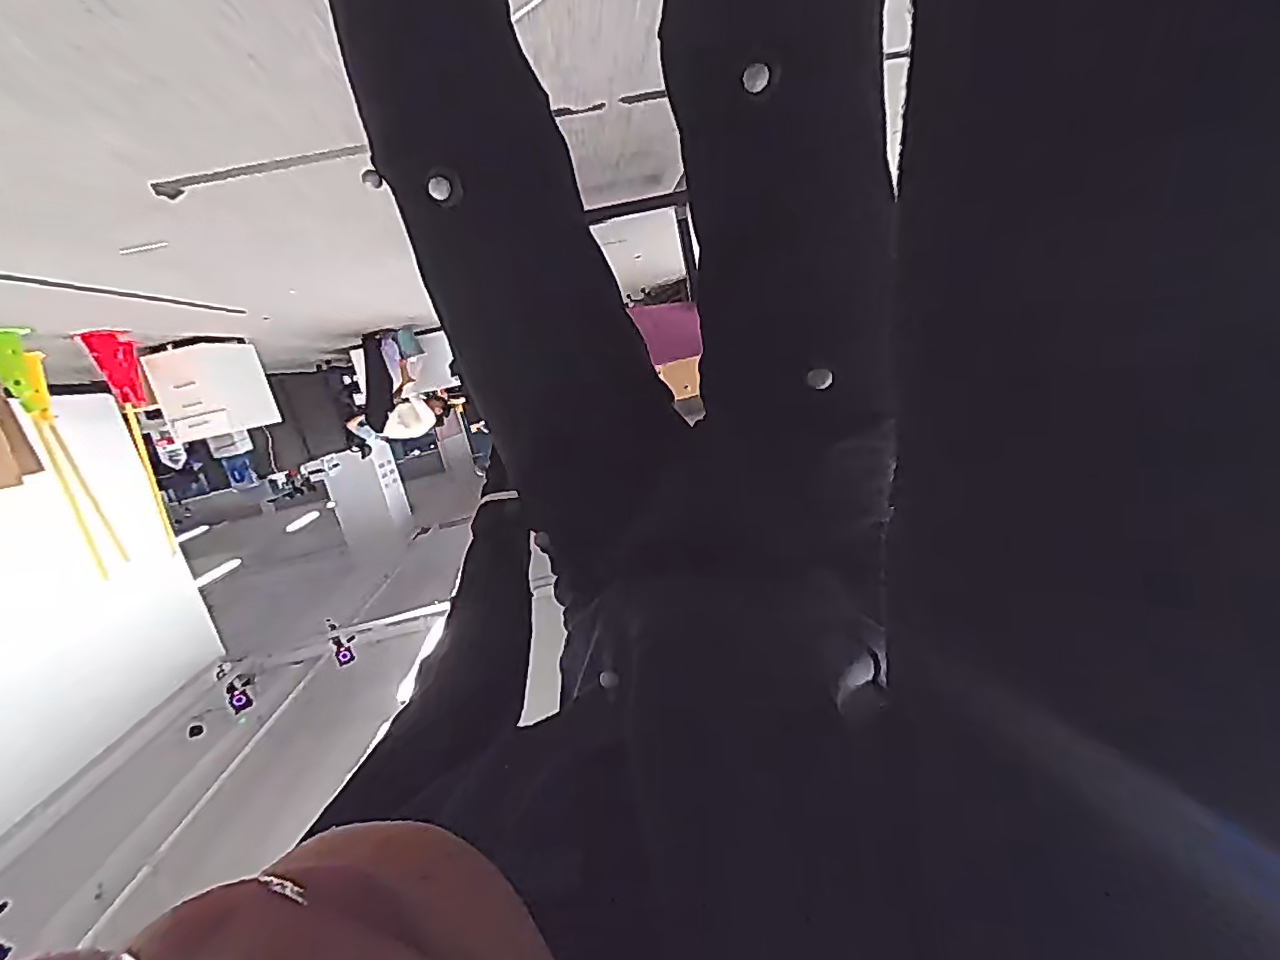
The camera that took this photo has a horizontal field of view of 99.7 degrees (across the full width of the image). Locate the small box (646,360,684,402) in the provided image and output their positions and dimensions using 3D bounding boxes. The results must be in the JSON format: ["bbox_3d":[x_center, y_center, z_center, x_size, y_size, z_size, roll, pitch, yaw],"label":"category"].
[{"bbox_3d":[0.138,-0.481,2.612,0.179,0.176,0.168,-13,-168,-2],"label":"small box"}]

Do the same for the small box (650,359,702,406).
[{"bbox_3d":[0.155,-0.431,2.376,0.179,0.176,0.168,-13,-167,-4],"label":"small box"}]
